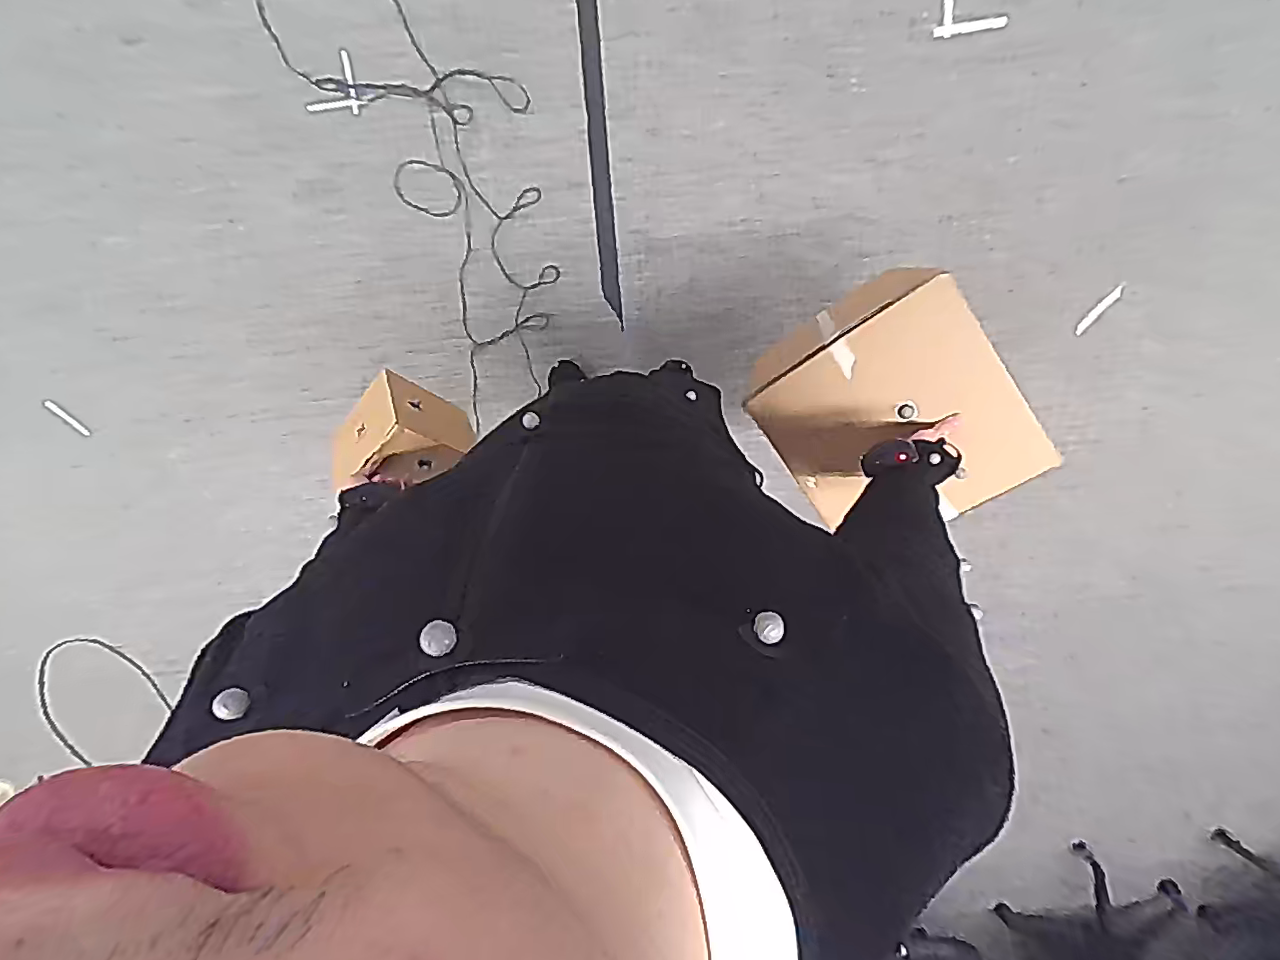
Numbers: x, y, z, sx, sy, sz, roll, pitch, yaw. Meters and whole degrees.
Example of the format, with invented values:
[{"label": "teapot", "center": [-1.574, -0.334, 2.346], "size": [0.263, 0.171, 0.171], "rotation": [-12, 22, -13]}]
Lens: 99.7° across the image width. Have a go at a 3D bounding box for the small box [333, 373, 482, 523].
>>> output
[{"label": "small box", "center": [-0.398, -0.046, 0.934], "size": [0.168, 0.179, 0.176], "rotation": [-47, 136, 11]}]
